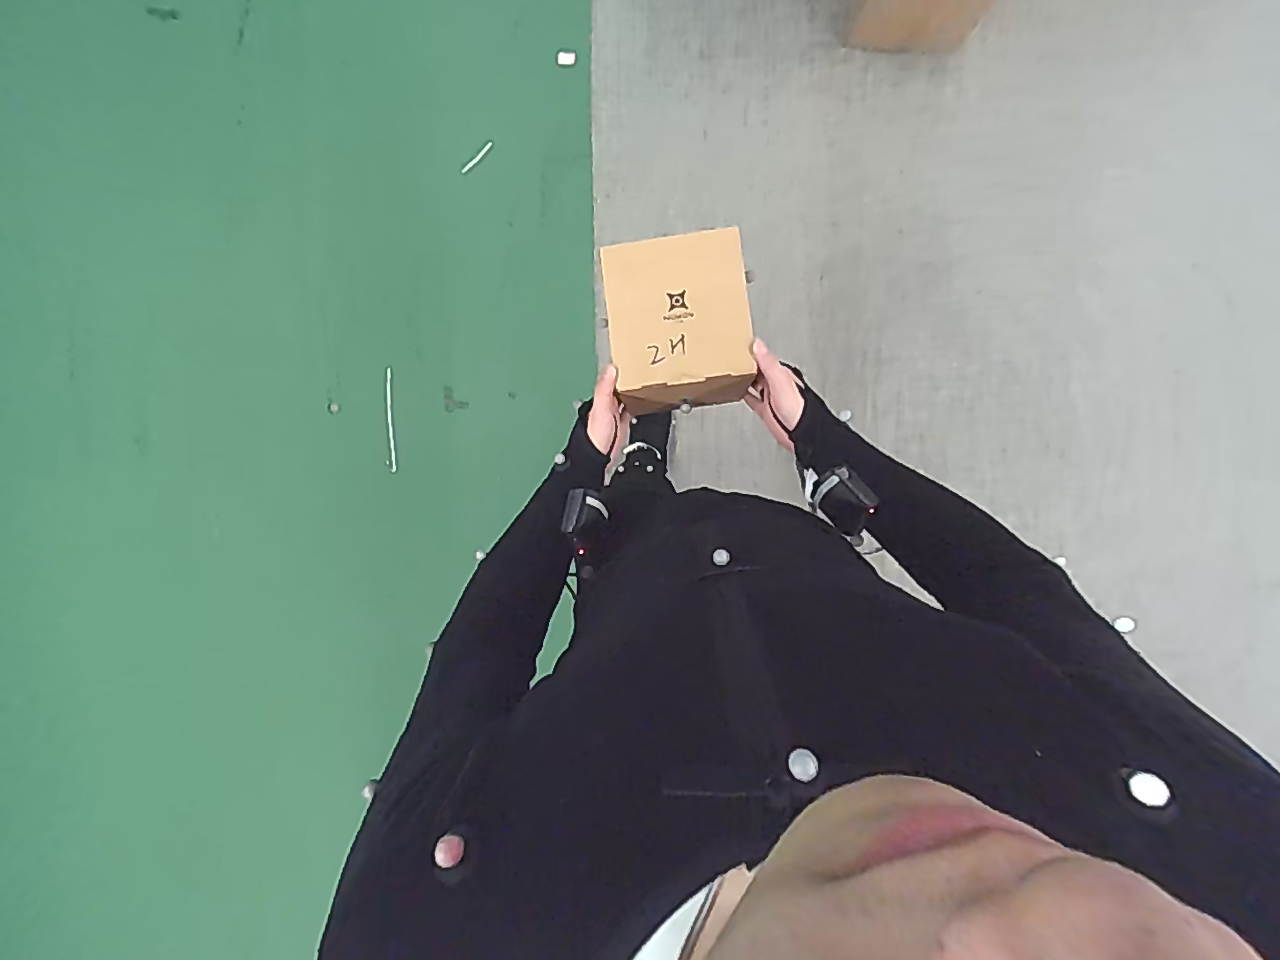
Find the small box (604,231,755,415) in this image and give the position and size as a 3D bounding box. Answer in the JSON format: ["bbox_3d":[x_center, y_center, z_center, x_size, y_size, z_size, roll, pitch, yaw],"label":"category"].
[{"bbox_3d":[0.048,-0.192,0.706,0.168,0.176,0.179,-6,87,4],"label":"small box"}]
